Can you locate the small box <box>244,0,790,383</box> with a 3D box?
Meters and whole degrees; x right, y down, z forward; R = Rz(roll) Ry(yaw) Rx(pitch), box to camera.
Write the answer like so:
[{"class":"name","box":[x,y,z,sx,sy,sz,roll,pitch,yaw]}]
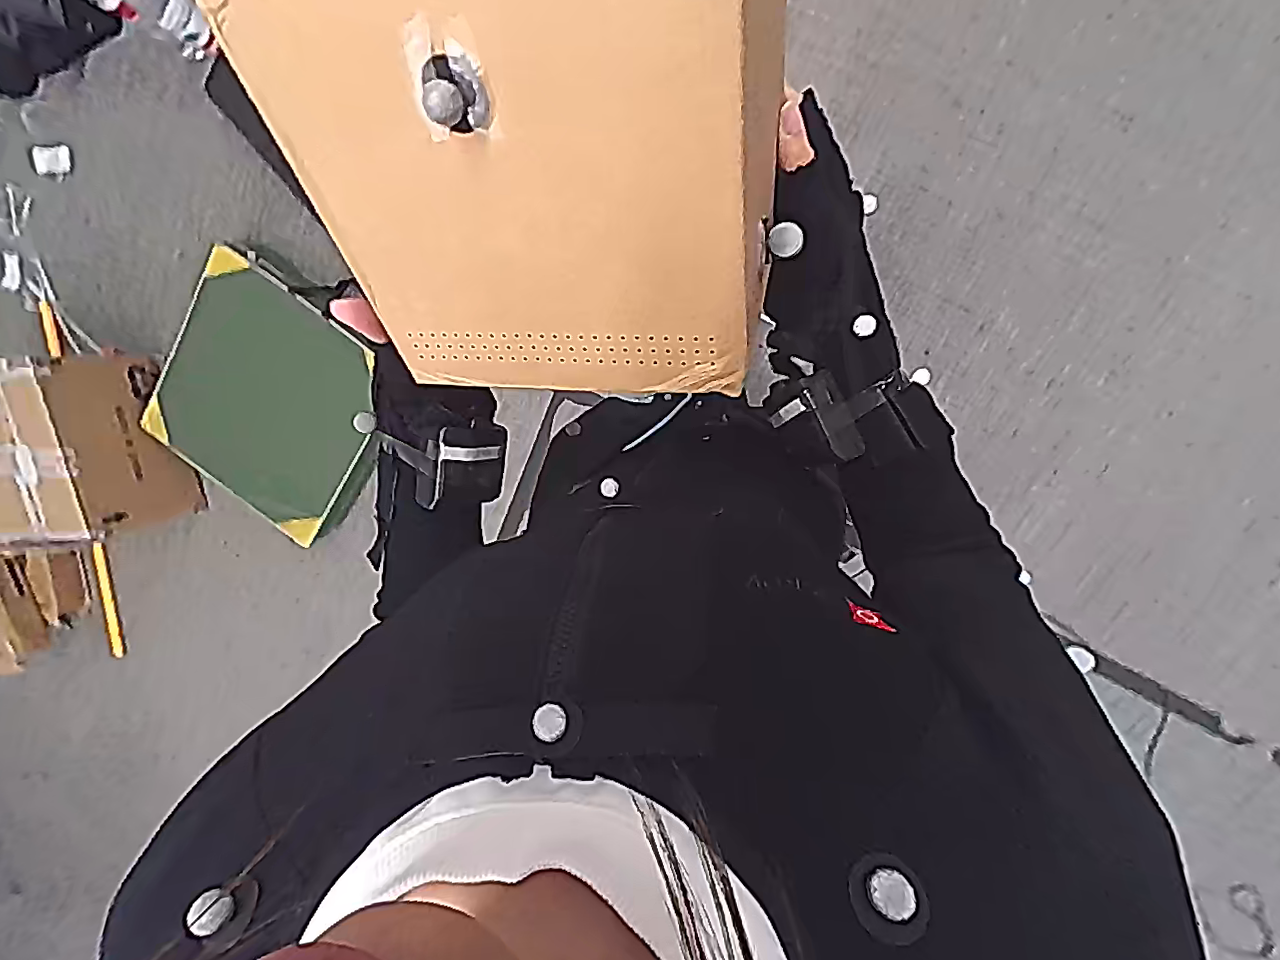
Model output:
[{"class":"small box","box":[-0.024,-0.164,0.269,0.179,0.168,0.176,6,141,16]}]
